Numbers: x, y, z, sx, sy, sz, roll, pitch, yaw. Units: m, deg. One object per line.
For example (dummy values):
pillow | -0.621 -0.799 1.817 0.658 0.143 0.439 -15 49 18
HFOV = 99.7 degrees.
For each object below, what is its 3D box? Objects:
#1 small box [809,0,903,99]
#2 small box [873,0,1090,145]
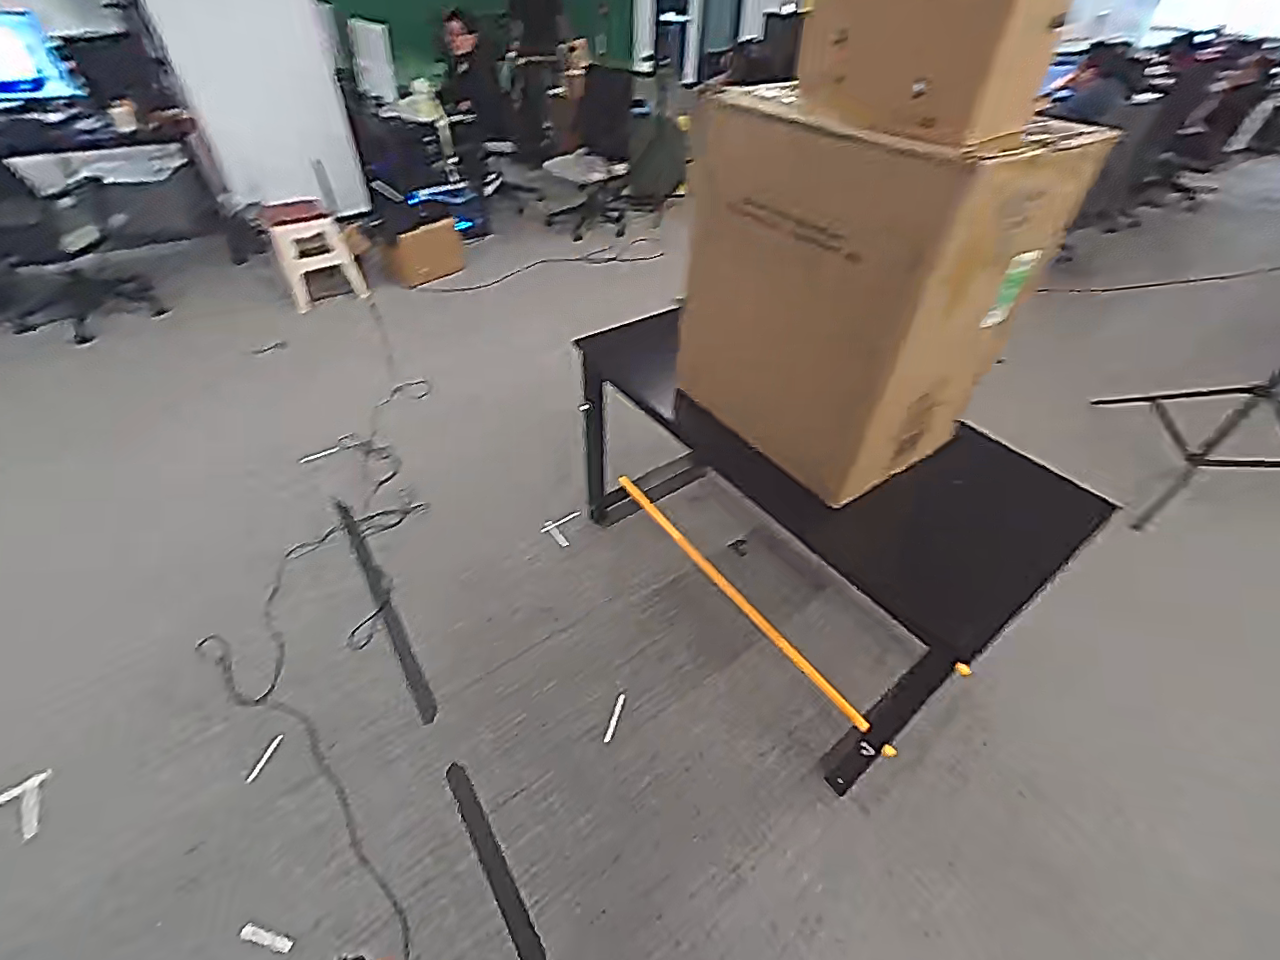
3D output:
small box | 0.422 -0.792 0.957 0.179 0.176 0.168 -25 52 -26
small box | 0.445 -0.568 0.724 0.179 0.176 0.168 -29 50 -27
